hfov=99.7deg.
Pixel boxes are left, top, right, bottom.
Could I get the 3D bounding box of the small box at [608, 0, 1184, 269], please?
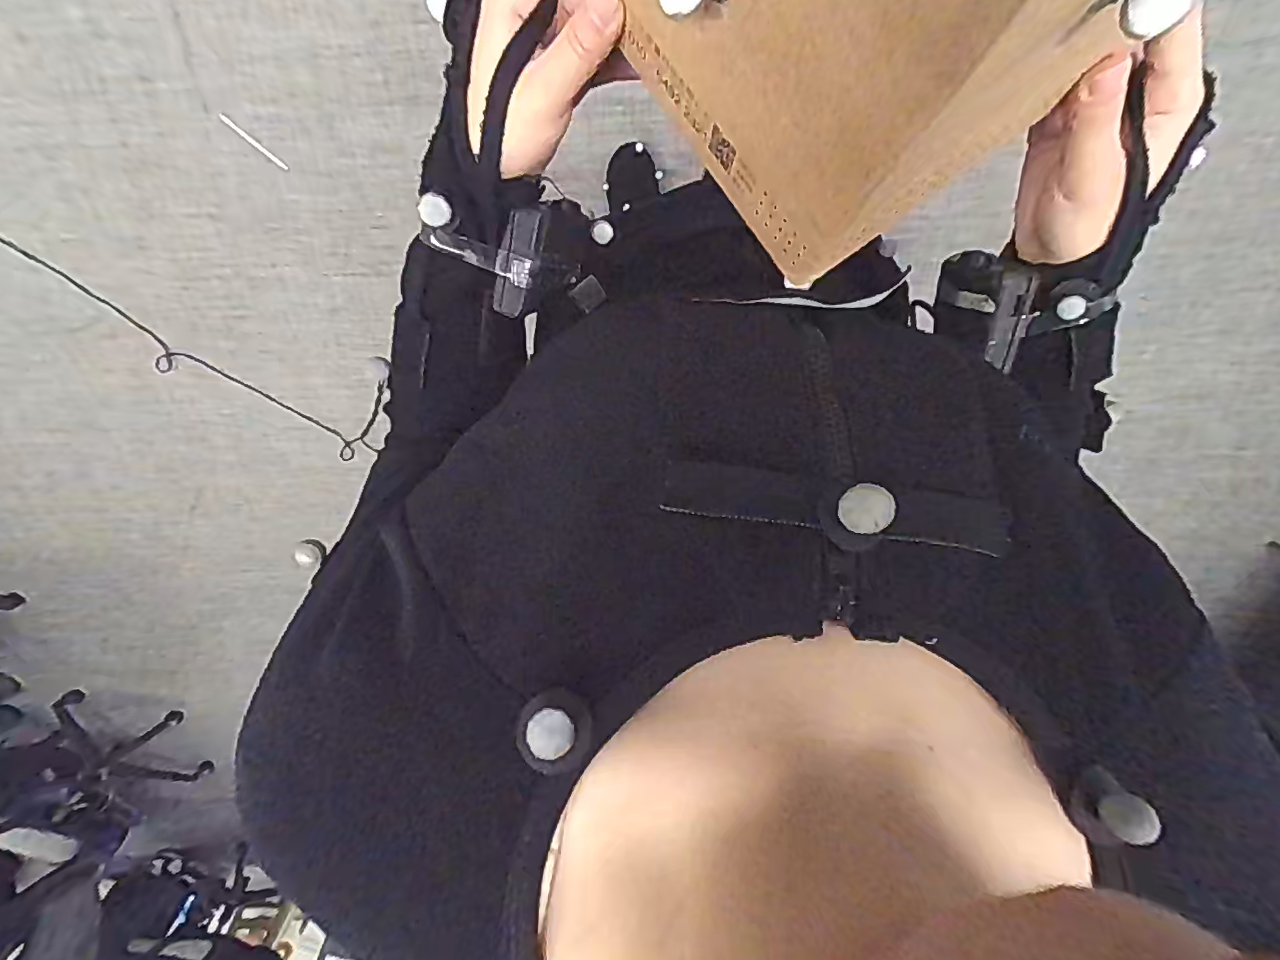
[{"bbox_3d":[0.088,-0.198,0.155,0.179,0.176,0.168,-36,88,-2],"label":"small box"}]
